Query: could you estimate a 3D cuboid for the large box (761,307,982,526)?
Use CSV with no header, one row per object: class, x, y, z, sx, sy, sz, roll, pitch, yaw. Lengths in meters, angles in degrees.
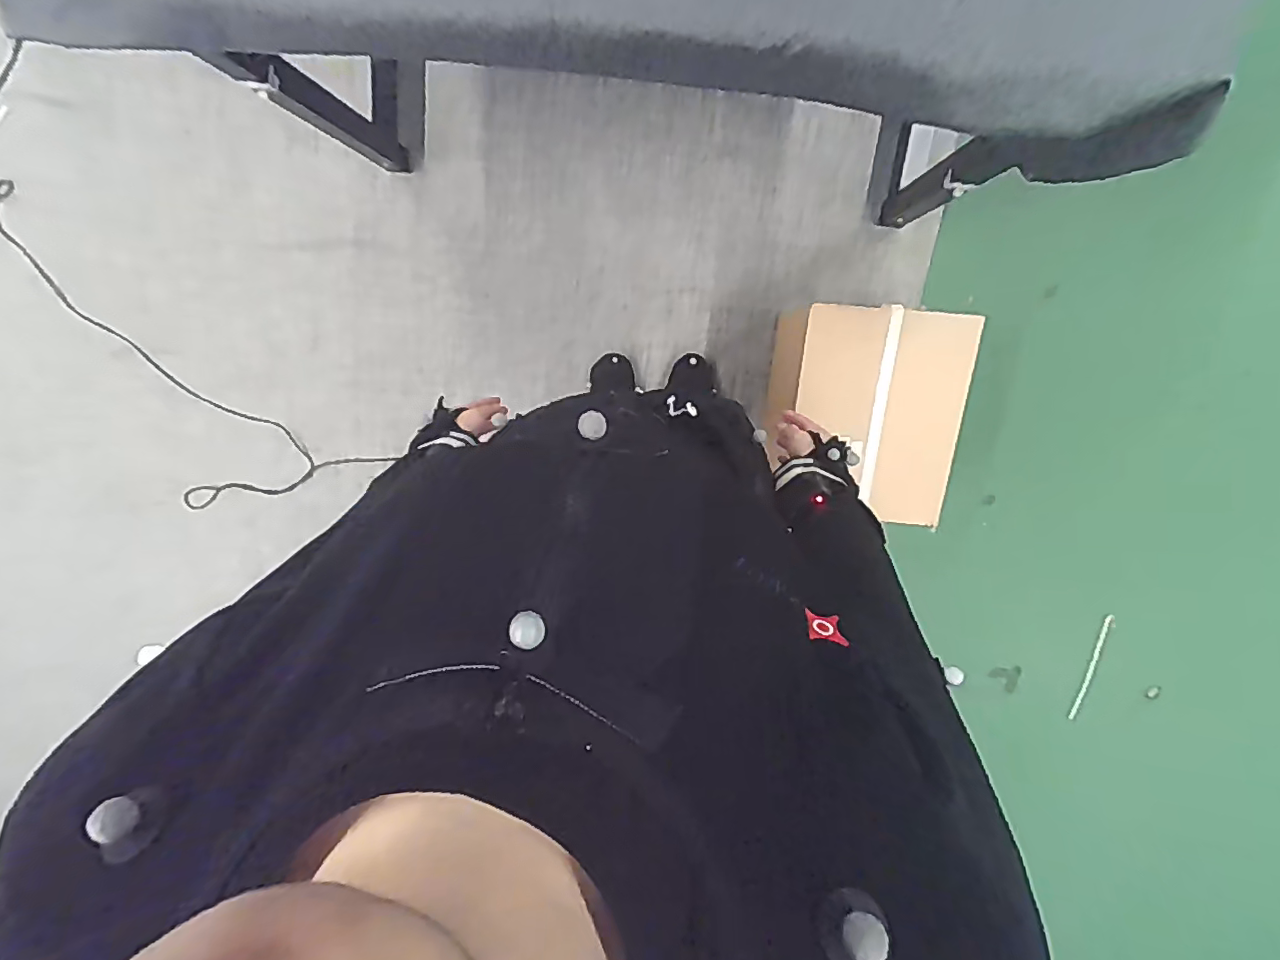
large box,0.459,-0.149,1.163,0.320,0.320,0.408,5,104,3
